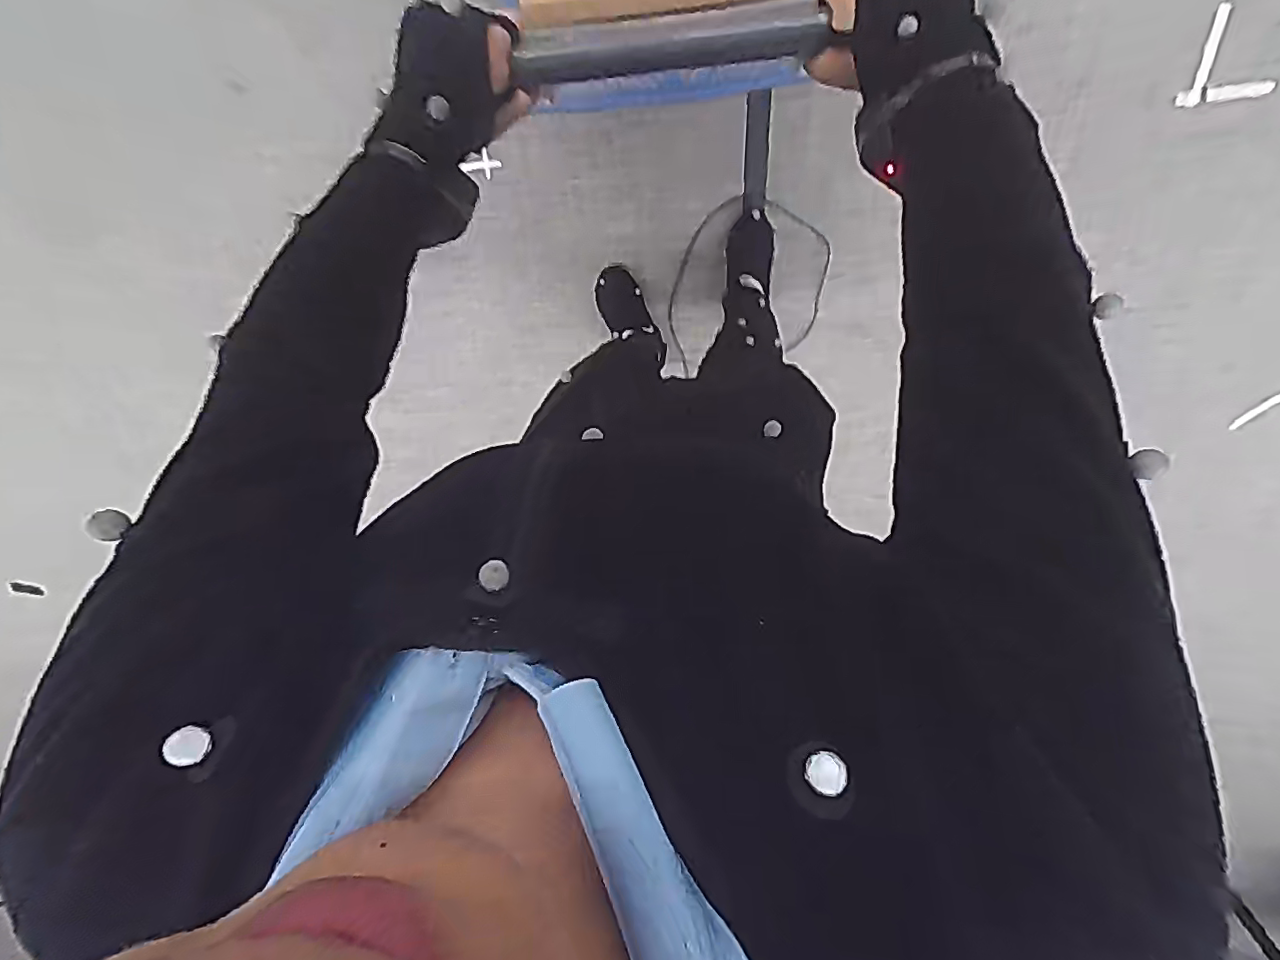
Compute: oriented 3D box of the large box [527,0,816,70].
[{"bbox_3d":[0.037,-0.820,0.765,0.408,0.320,0.320,-4,121,5],"label":"large box"}]
